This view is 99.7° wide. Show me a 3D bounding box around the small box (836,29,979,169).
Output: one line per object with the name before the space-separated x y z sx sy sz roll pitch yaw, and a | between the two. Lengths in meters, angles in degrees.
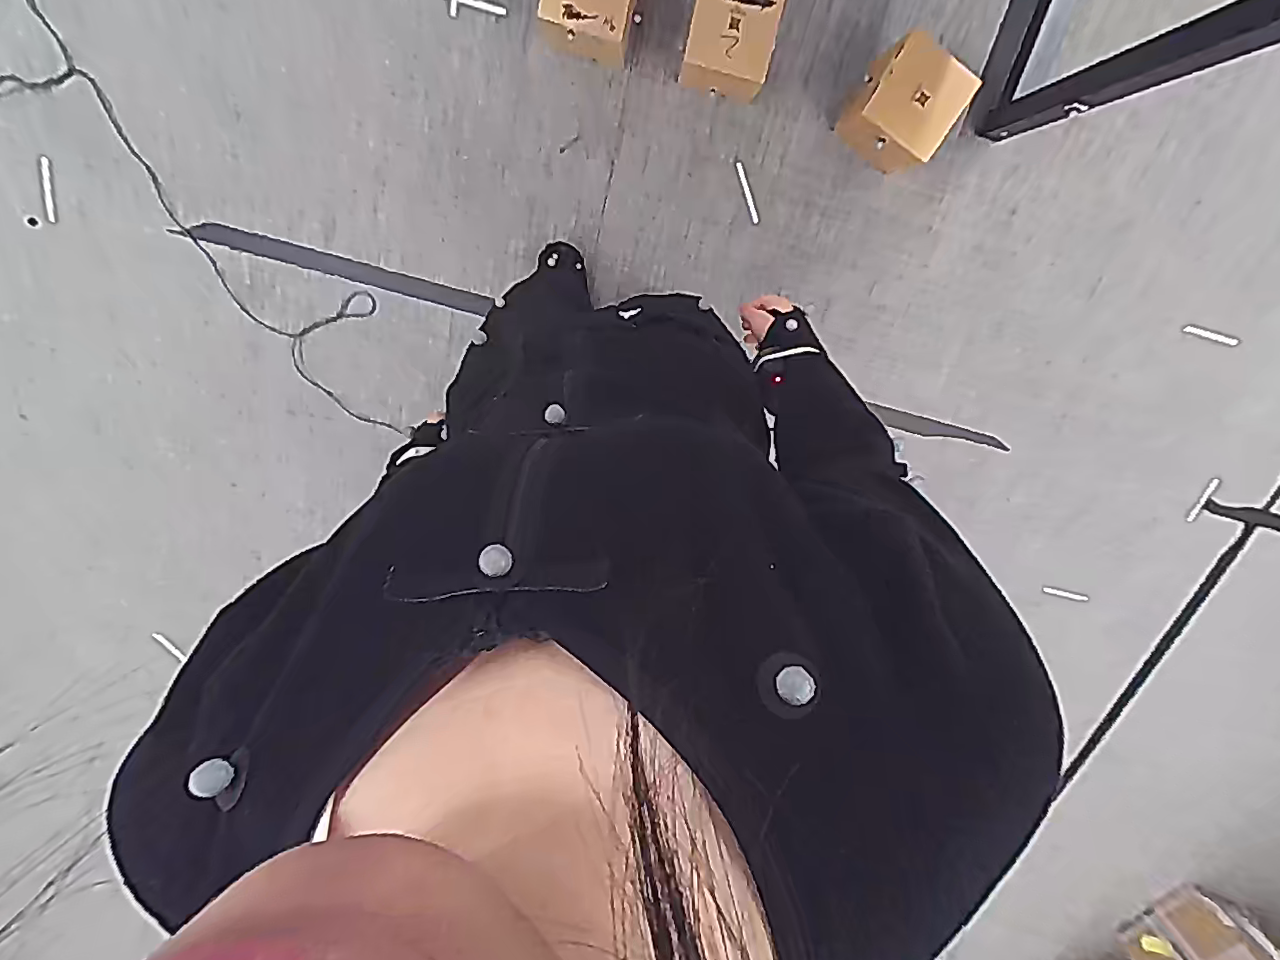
small box | 0.555 -0.789 1.145 0.179 0.176 0.168 29 109 -11

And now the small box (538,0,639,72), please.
small box | -0.092 -0.959 1.068 0.168 0.176 0.179 15 109 -7
